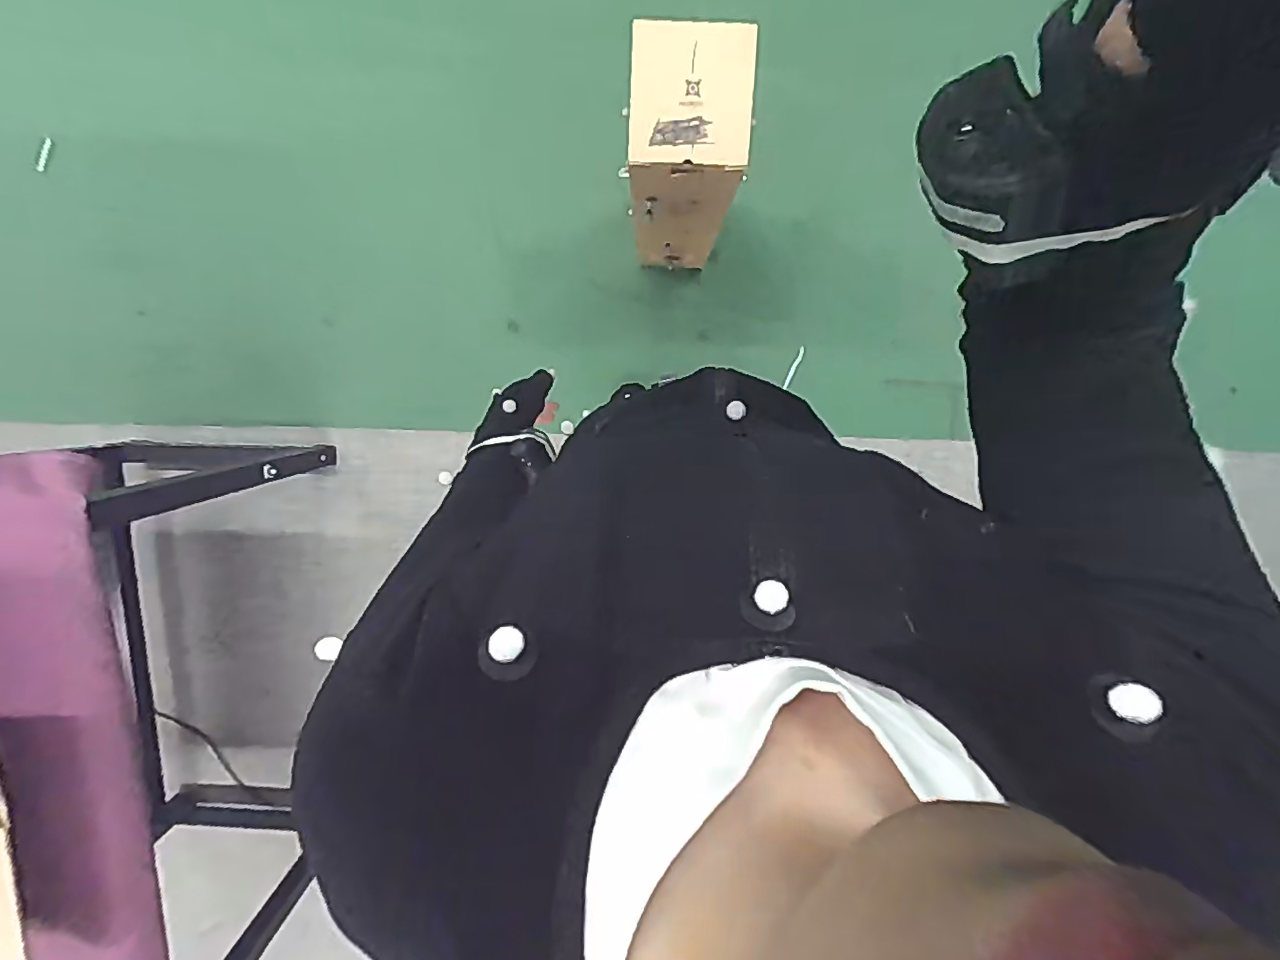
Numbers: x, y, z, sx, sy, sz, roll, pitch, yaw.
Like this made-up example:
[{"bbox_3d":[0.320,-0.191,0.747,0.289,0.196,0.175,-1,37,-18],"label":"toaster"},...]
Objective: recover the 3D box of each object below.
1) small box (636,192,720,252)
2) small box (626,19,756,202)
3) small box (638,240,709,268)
[{"bbox_3d":[0.077,-0.590,1.125,0.168,0.176,0.179,2,101,1],"label":"small box"},{"bbox_3d":[0.069,-0.530,0.802,0.168,0.176,0.179,3,100,0],"label":"small box"},{"bbox_3d":[0.083,-0.619,1.285,0.168,0.176,0.179,4,100,1],"label":"small box"}]
